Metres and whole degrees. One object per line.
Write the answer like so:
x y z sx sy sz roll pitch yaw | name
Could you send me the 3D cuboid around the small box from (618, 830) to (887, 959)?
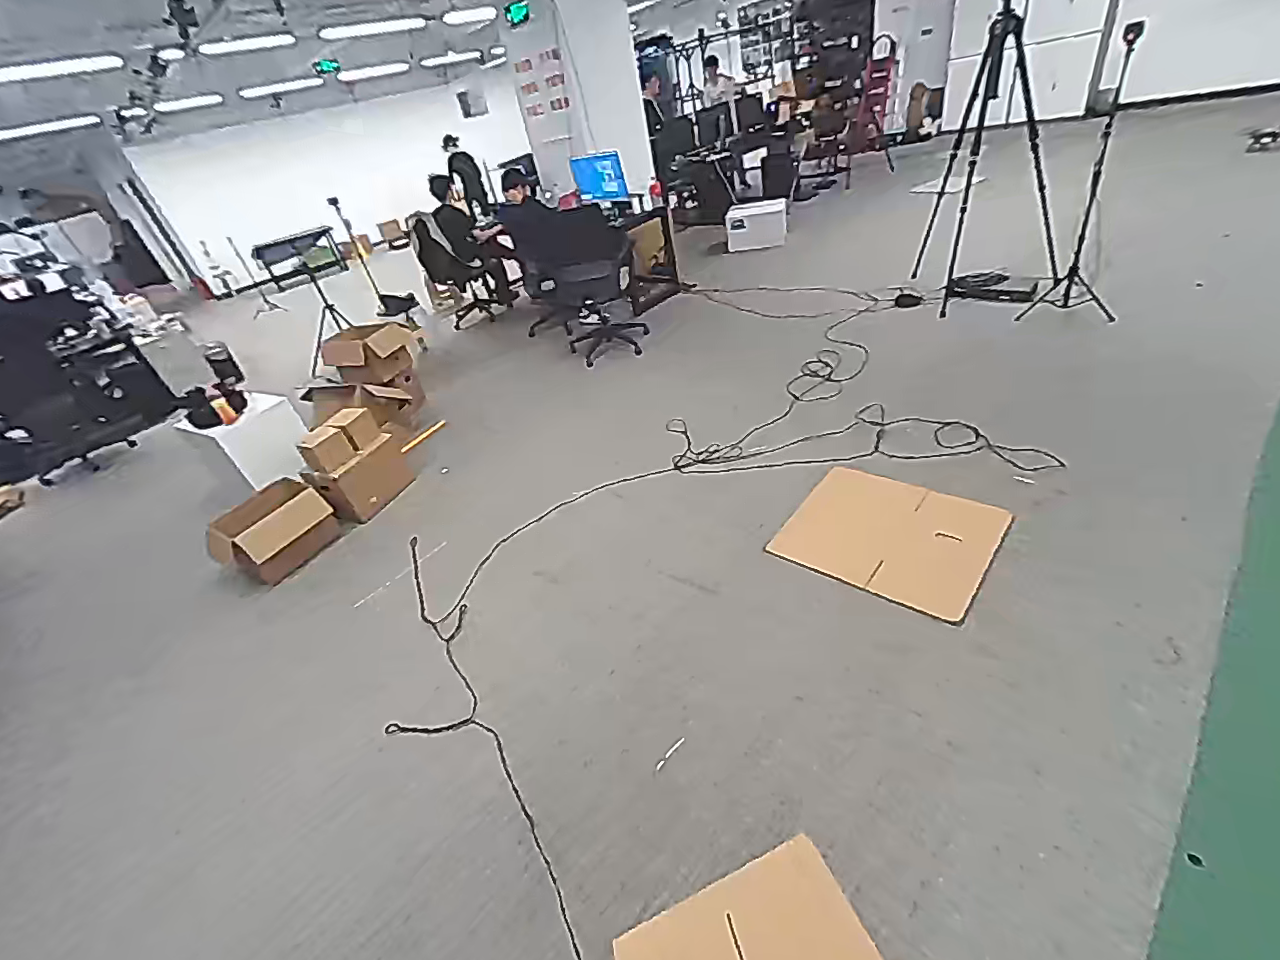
0.104 0.402 0.378 0.168 0.176 0.179 -22 33 -9 | small box
